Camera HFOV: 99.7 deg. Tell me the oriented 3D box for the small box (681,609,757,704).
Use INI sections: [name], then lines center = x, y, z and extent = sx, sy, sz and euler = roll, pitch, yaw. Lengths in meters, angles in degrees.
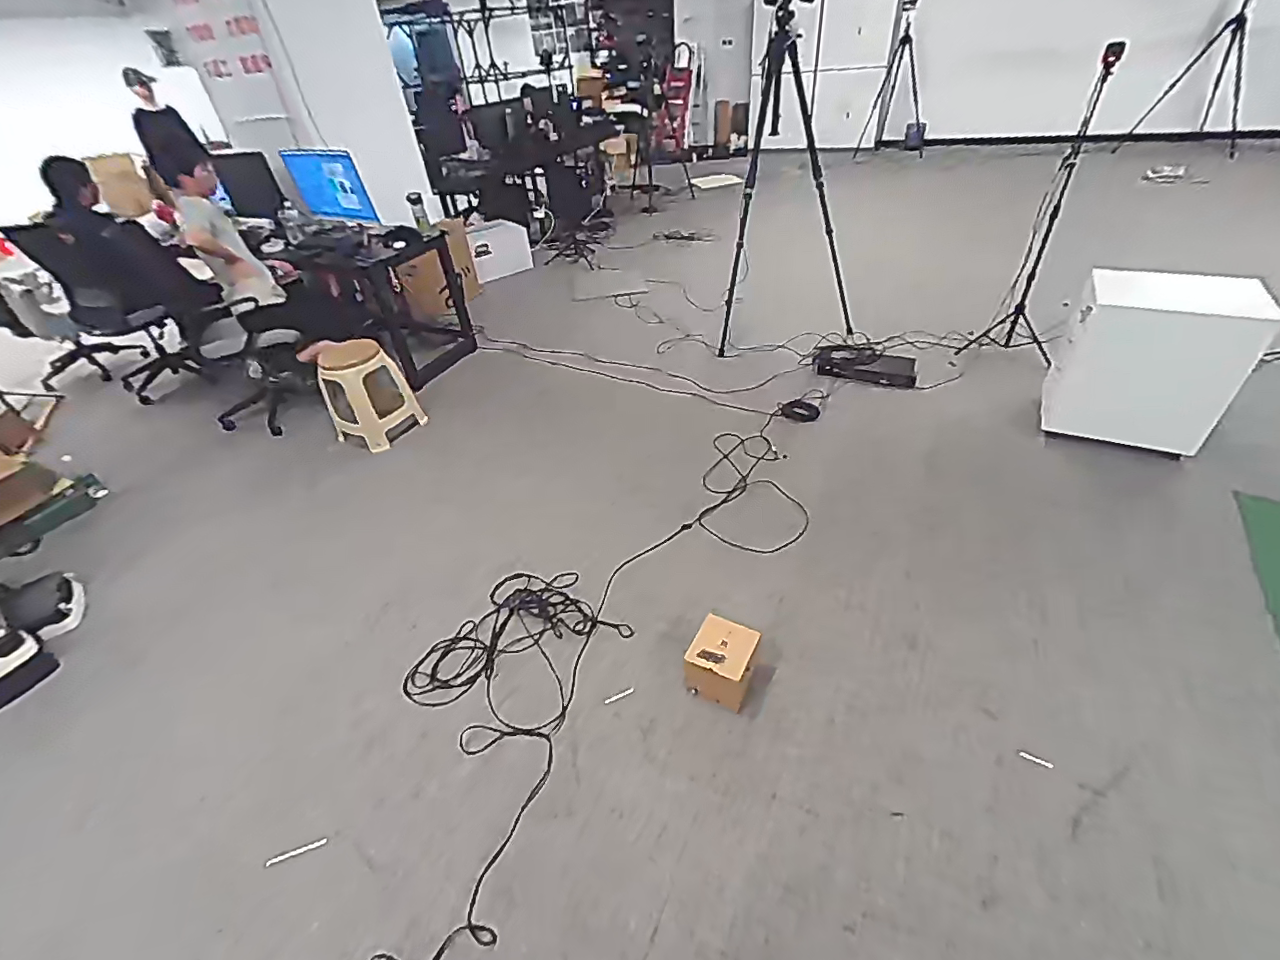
[small box]
center = 0.235, 0.518, 1.579
extent = 0.168, 0.176, 0.179
euler = 16, 44, 25
